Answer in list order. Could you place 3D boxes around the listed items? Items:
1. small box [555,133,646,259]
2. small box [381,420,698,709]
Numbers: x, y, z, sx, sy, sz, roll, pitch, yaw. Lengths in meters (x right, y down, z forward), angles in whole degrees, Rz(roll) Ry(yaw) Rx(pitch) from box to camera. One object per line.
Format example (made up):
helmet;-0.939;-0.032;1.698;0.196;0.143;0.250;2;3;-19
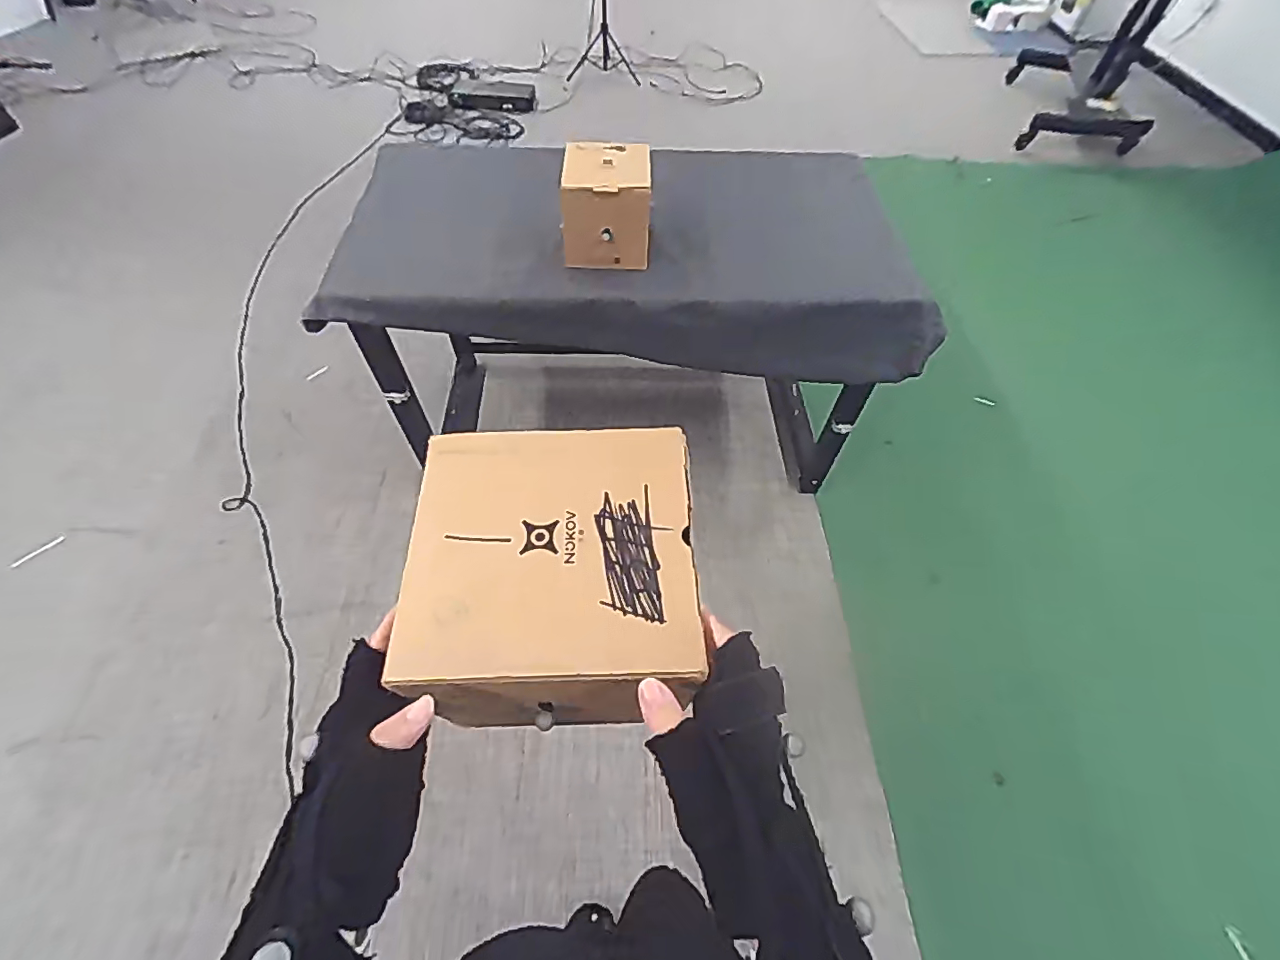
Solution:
small box;-0.071;-0.562;1.079;0.168;0.176;0.179;0;57;-1
small box;-0.058;0.071;0.404;0.179;0.176;0.168;-2;59;-1
